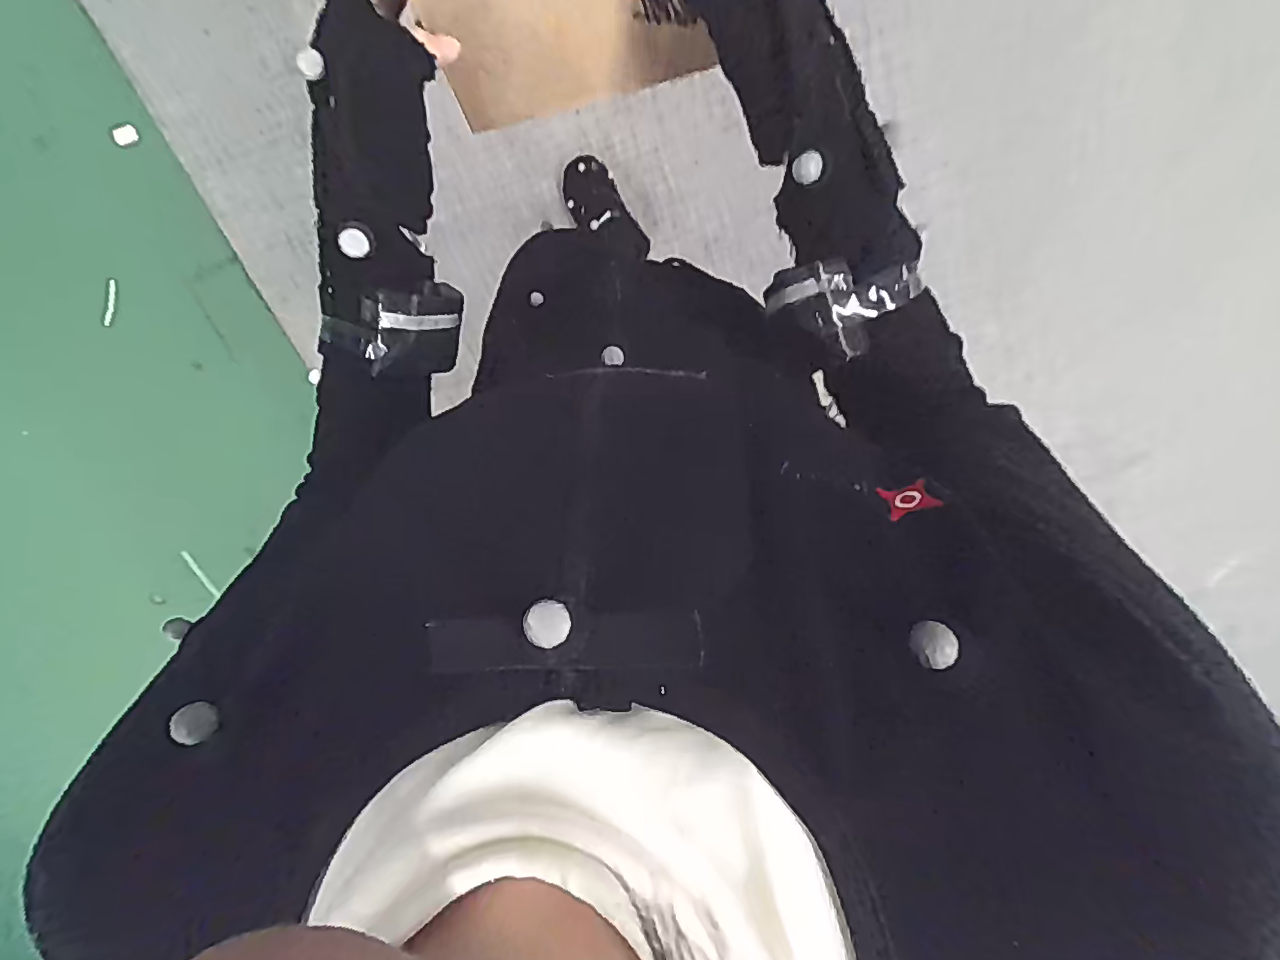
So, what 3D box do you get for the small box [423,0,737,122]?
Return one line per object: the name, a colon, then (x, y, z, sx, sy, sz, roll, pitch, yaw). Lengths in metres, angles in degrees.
small box: (-0.047, -0.355, 0.307, 0.179, 0.176, 0.168, -11, 155, 5)
